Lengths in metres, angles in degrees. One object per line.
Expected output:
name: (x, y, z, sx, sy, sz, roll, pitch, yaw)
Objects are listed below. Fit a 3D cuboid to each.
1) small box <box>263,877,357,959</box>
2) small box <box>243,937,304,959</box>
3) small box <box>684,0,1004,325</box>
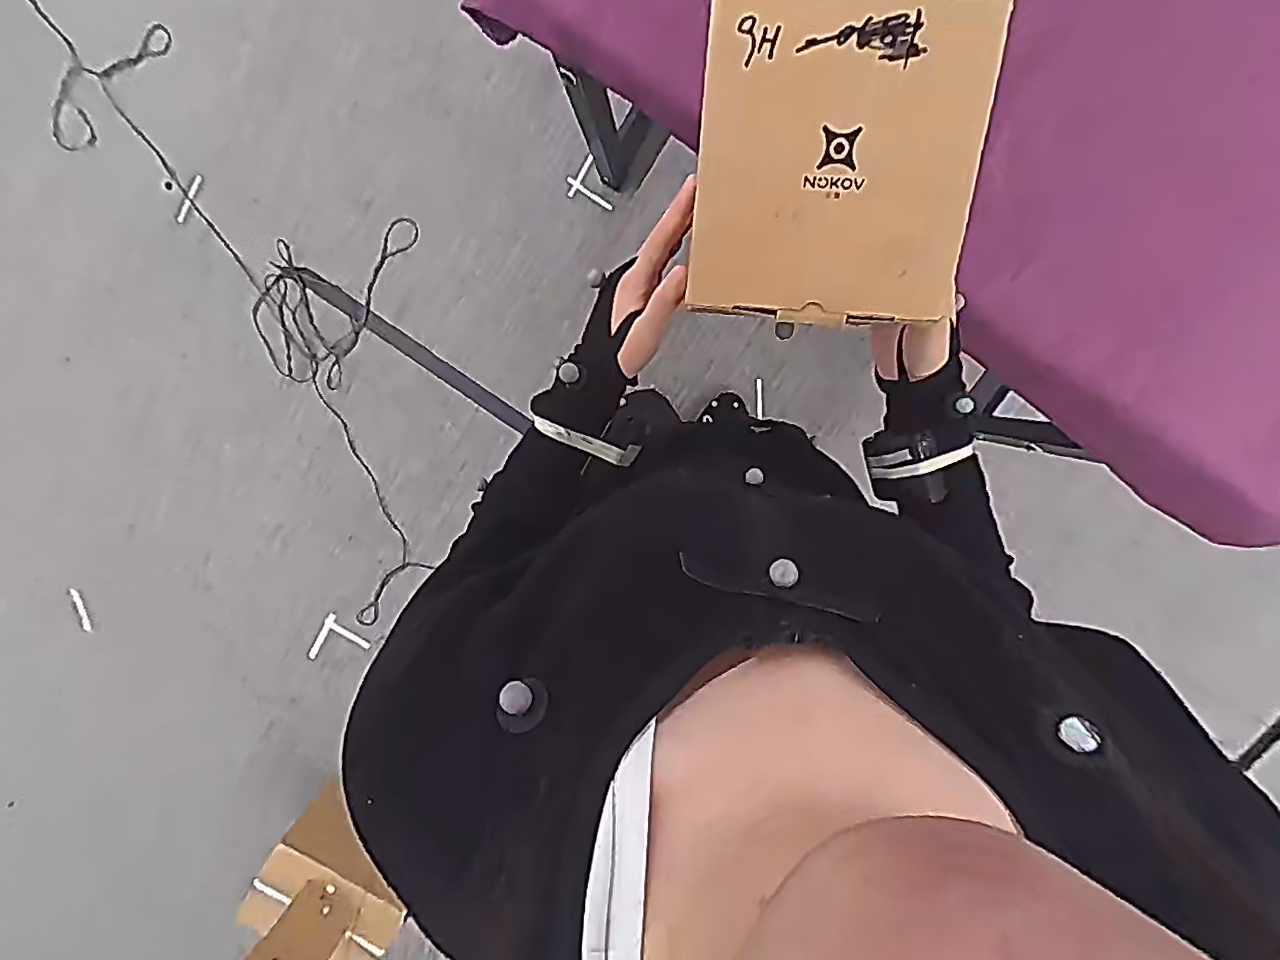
small box: (-0.879, 1.199, 1.406, 0.168, 0.176, 0.179, 31, 100, -3)
small box: (-0.890, 1.220, 1.246, 0.168, 0.176, 0.179, 30, 101, -1)
small box: (0.124, -0.215, 0.407, 0.168, 0.176, 0.179, 5, 107, 3)
